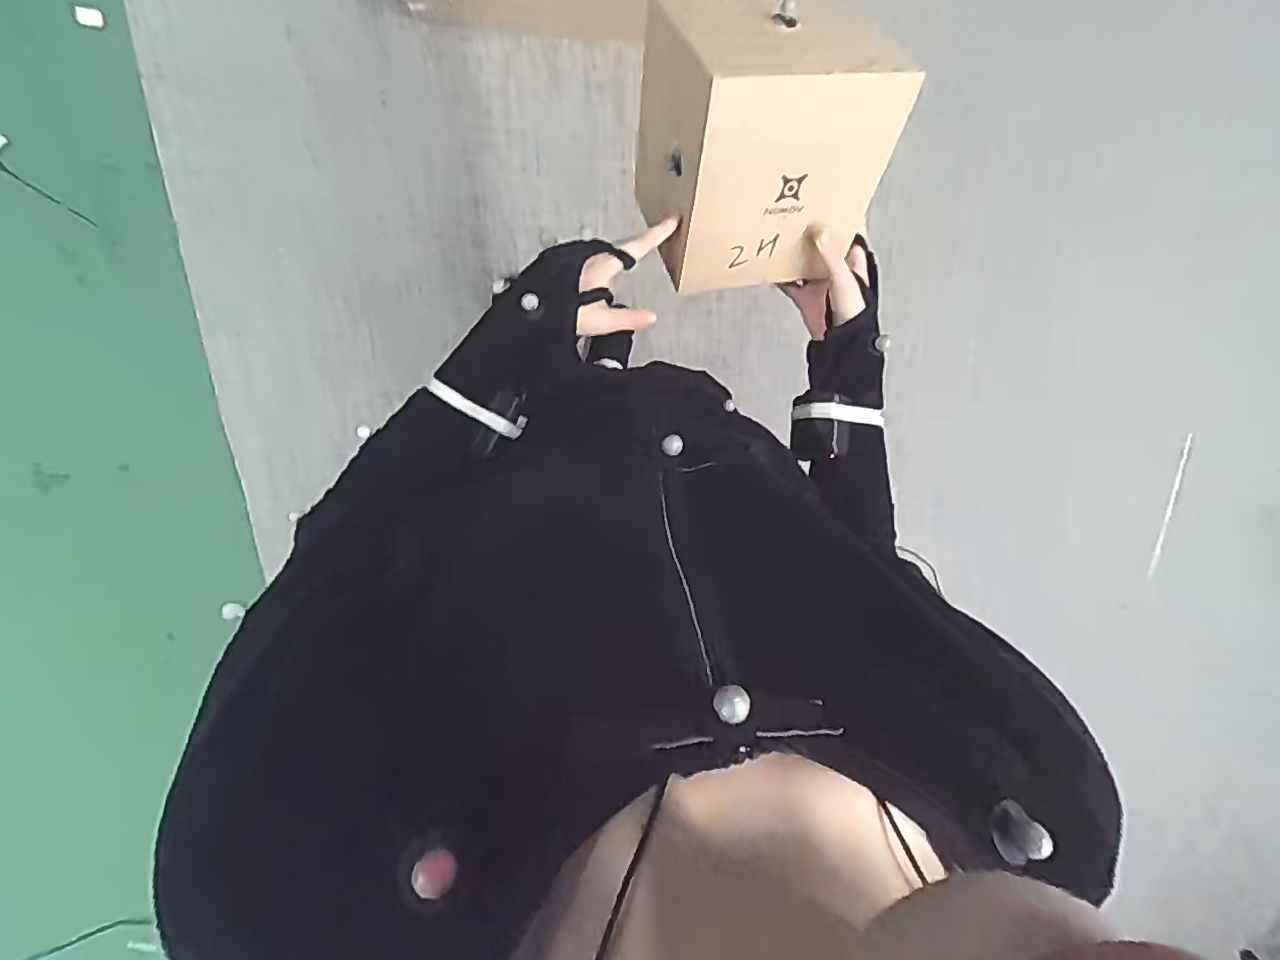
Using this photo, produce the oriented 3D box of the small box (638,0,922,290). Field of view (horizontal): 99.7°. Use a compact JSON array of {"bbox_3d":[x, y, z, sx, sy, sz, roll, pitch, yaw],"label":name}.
[{"bbox_3d":[0.099,-0.299,0.480,0.168,0.176,0.179,-9,149,-11],"label":"small box"}]
